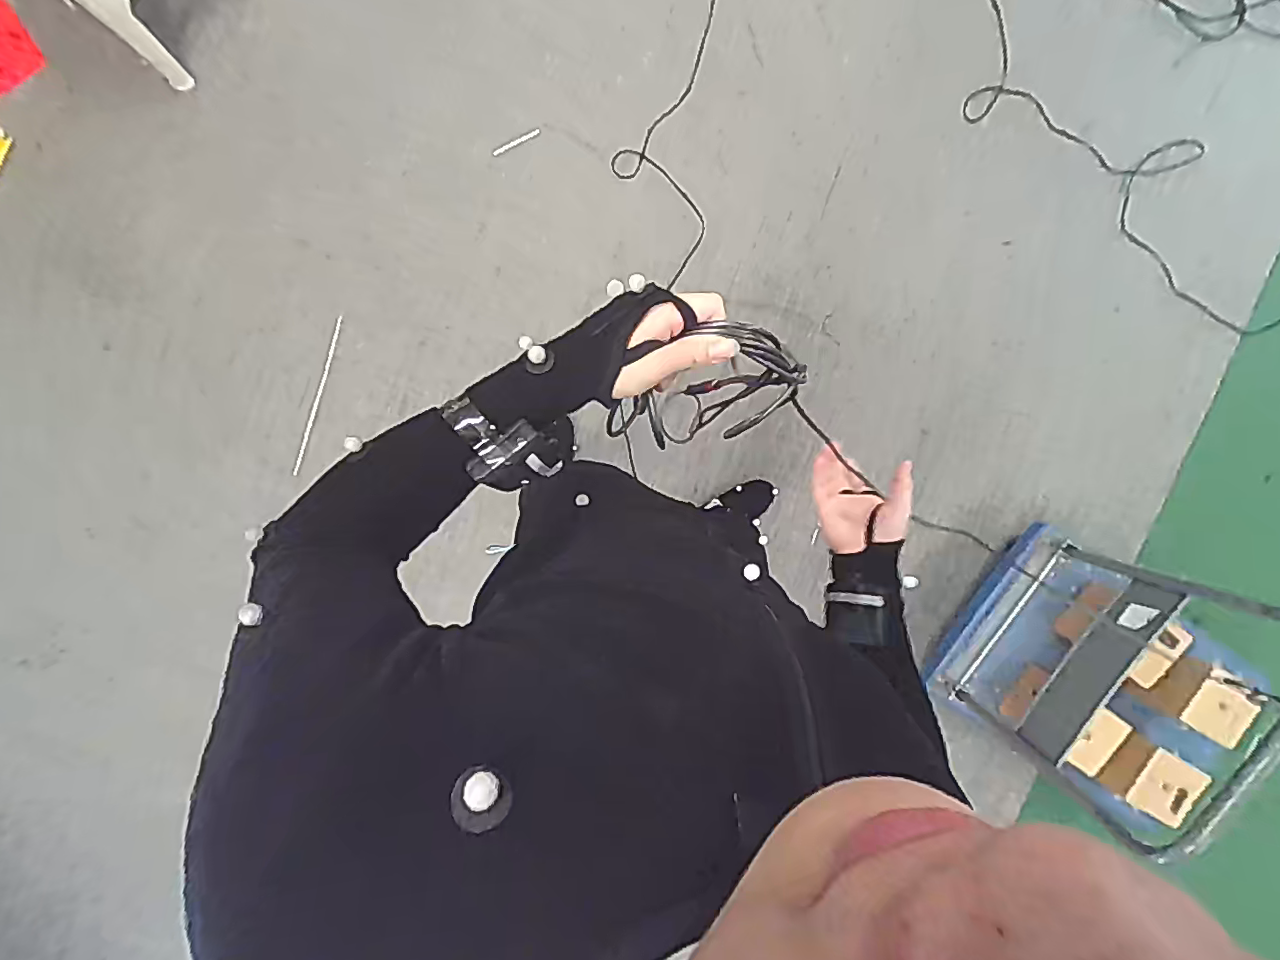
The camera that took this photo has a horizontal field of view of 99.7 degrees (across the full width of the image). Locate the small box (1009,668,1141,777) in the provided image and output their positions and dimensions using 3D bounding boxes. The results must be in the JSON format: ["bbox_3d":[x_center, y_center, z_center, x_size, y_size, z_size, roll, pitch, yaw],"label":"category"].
[{"bbox_3d":[1.152,0.637,1.447,0.179,0.176,0.168,34,95,-4],"label":"small box"}]

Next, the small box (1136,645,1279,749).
[{"bbox_3d":[1.502,0.567,1.444,0.179,0.176,0.168,29,95,-4],"label":"small box"}]

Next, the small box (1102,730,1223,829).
[{"bbox_3d":[1.379,0.785,1.464,0.179,0.176,0.168,30,94,-3],"label":"small box"}]
